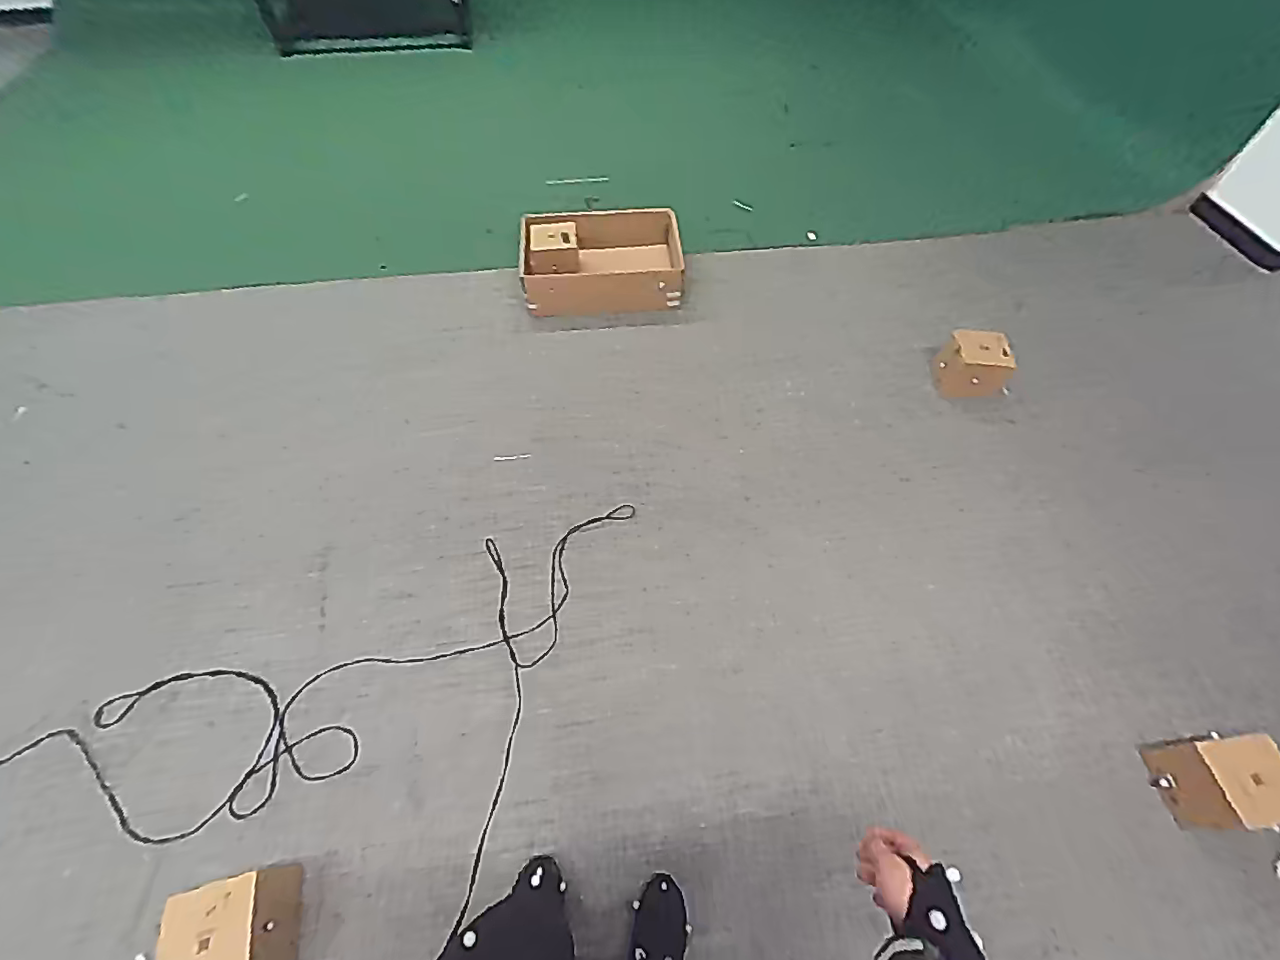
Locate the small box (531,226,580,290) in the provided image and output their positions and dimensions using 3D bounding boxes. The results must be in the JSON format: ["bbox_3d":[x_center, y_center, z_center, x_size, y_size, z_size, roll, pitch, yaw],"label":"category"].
[{"bbox_3d":[-0.331,-0.874,2.133,0.179,0.176,0.168,-5,58,-3],"label":"small box"}]

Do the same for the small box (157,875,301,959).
[{"bbox_3d":[-0.789,0.898,1.050,0.168,0.176,0.179,-13,57,-8],"label":"small box"}]

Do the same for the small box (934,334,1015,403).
[{"bbox_3d":[1.157,-0.386,1.889,0.179,0.176,0.168,4,57,3],"label":"small box"}]

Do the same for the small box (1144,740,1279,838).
[{"bbox_3d":[1.305,0.688,1.203,0.179,0.176,0.168,-6,56,-3],"label":"small box"}]
